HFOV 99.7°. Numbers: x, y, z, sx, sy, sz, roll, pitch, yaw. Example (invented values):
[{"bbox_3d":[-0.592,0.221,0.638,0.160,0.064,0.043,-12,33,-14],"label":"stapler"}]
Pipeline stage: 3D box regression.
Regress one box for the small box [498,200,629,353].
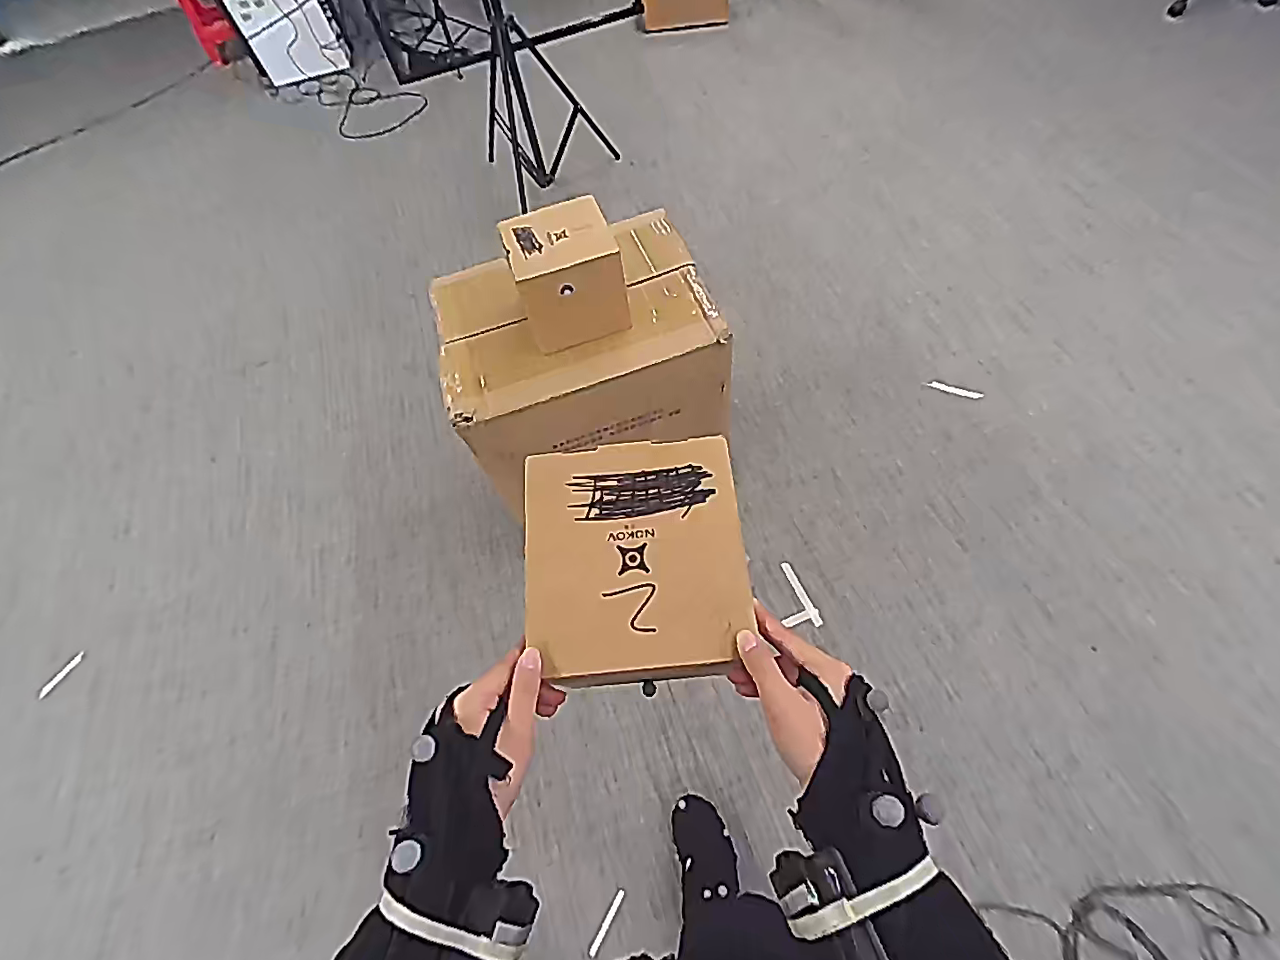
[{"bbox_3d":[-0.131,-0.355,0.963,0.179,0.176,0.168,-19,60,-4],"label":"small box"}]
